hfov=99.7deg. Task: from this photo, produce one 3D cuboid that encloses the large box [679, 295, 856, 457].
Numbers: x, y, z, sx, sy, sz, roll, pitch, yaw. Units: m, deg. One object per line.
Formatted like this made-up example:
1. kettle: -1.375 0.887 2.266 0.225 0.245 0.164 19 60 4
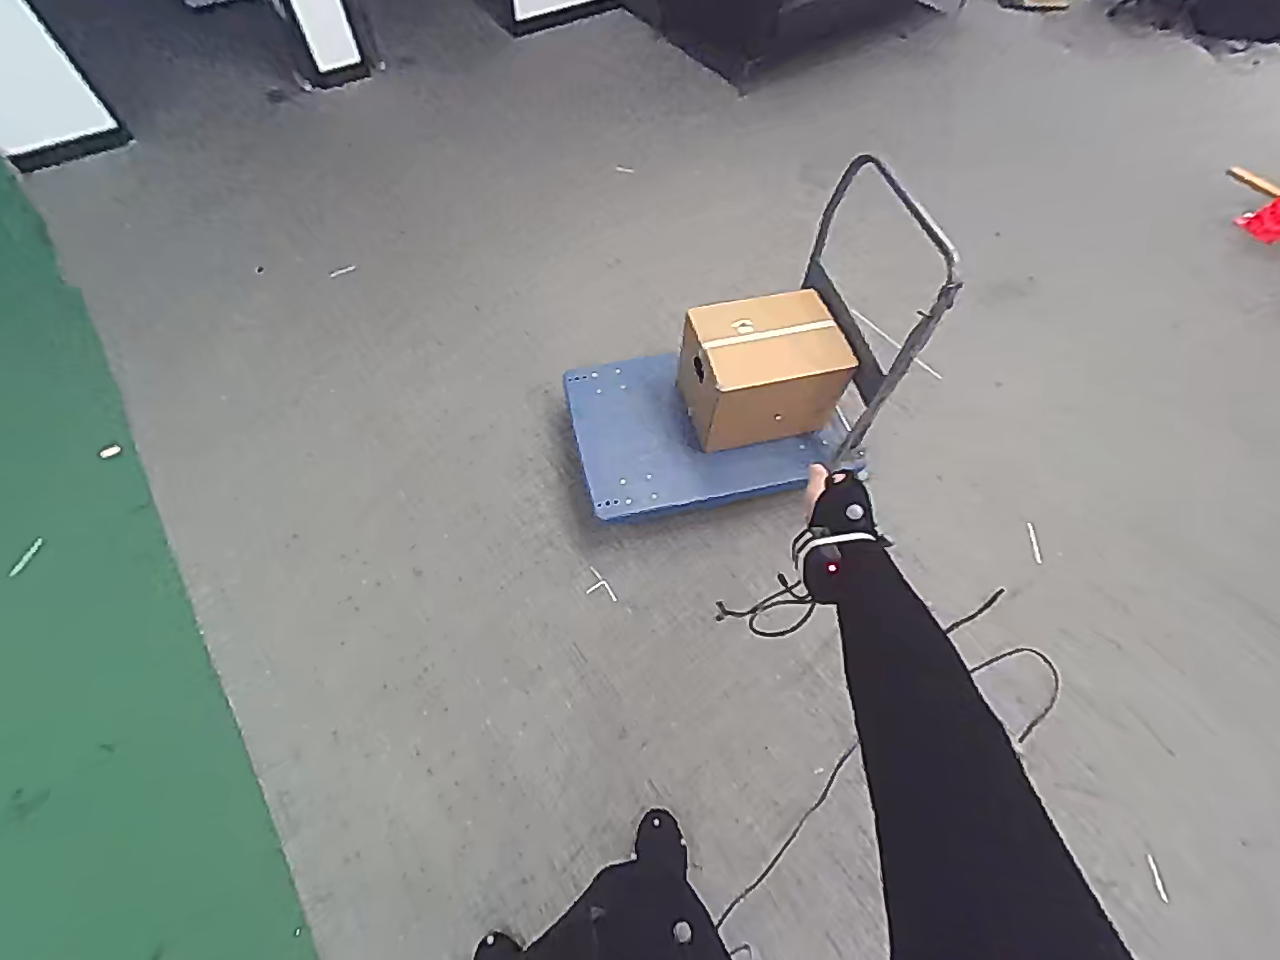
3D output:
1. large box: 0.360 -0.307 1.637 0.408 0.320 0.320 -12 61 -8
